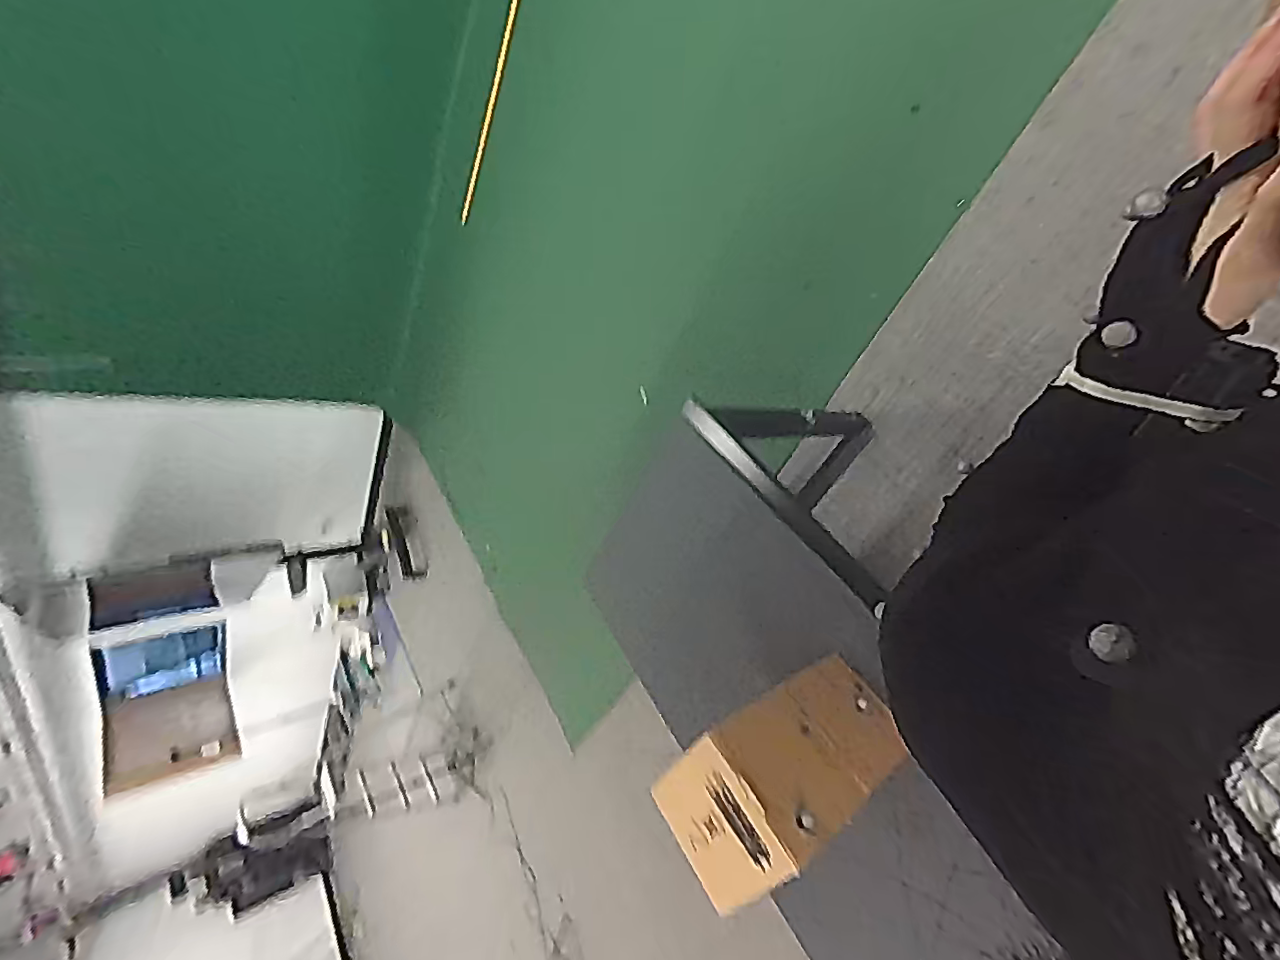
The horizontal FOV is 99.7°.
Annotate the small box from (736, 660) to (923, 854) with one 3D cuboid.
[{"bbox_3d":[0.284,0.406,0.814,0.168,0.176,0.179,48,127,33],"label":"small box"}]
